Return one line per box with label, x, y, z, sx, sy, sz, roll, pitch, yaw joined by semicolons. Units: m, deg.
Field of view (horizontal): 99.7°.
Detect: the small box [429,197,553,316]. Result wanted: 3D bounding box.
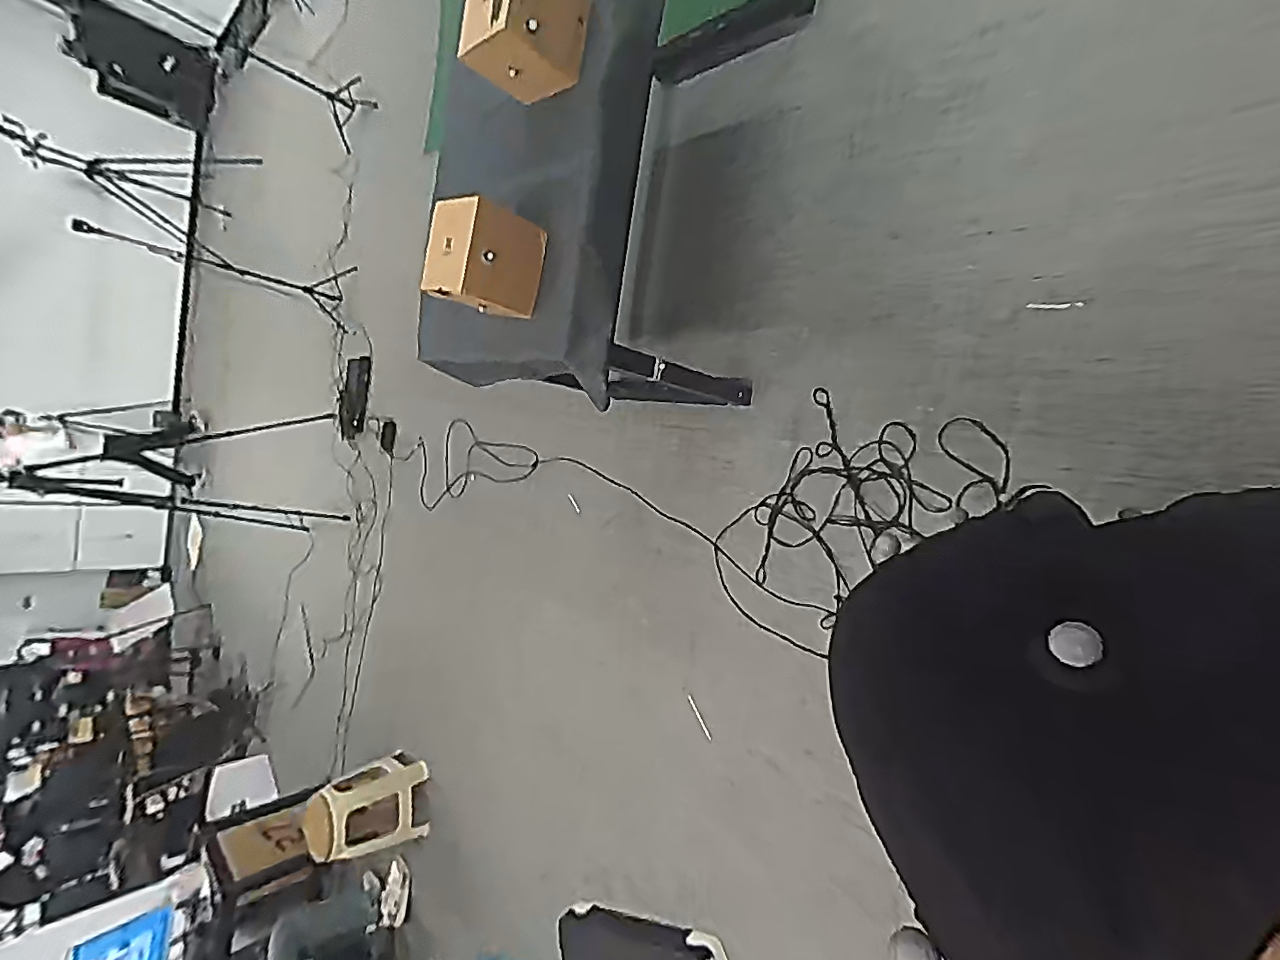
small box;-0.299;-0.443;1.096;0.168;0.176;0.179;20;99;40
